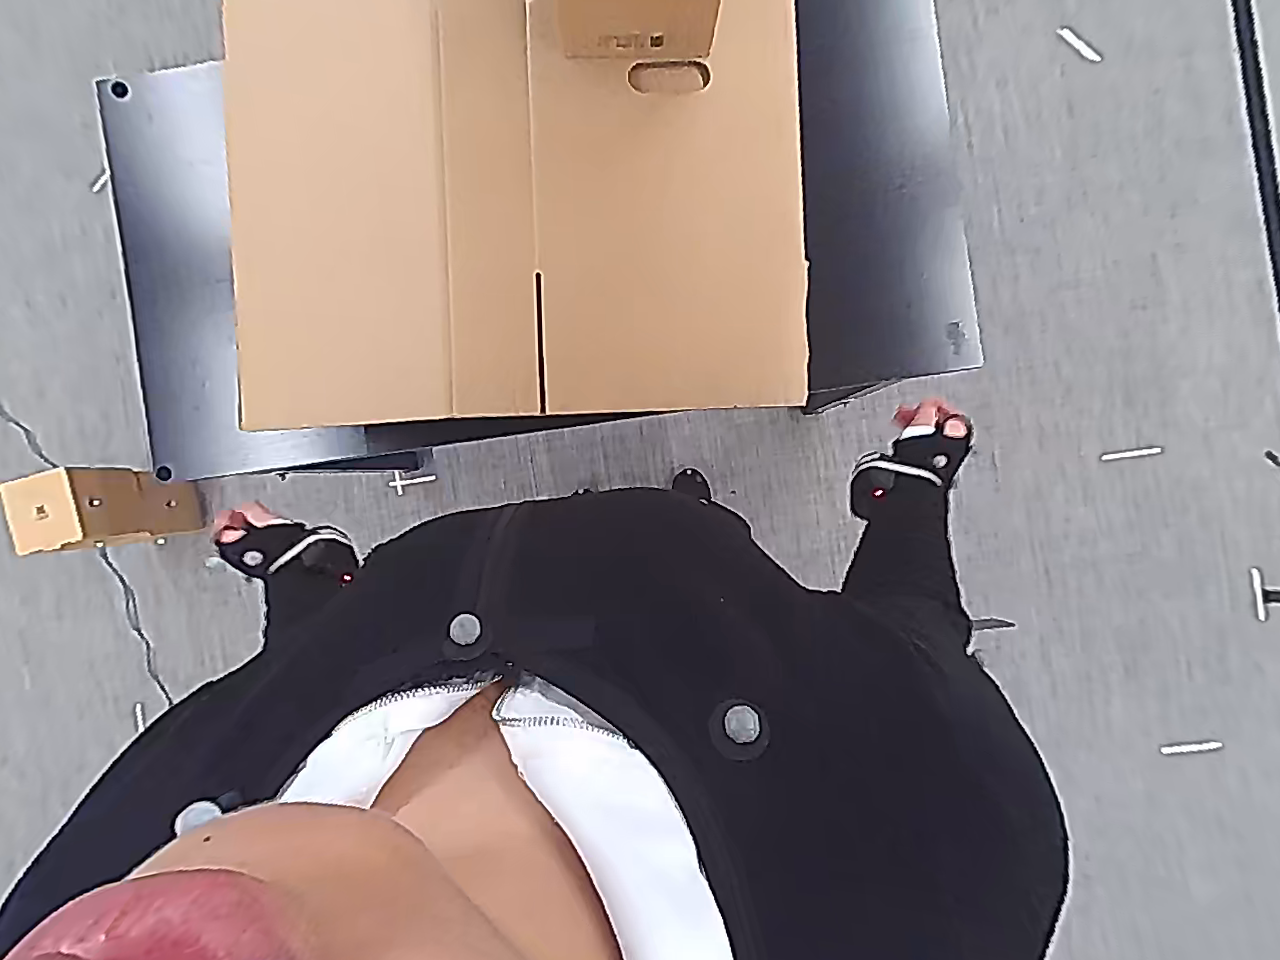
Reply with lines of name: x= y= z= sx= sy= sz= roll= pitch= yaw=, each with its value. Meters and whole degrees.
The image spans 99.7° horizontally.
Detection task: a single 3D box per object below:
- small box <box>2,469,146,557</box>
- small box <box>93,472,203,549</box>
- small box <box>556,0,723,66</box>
small box: x=-1.364 y=0.075 z=1.317 sx=0.168 sy=0.176 sz=0.179 roll=-15 pitch=88 yaw=2
small box: x=-1.354 y=0.081 z=1.480 sx=0.168 sy=0.176 sz=0.179 roll=-12 pitch=90 yaw=3
small box: x=-0.001 y=-0.546 z=0.516 sx=0.168 sy=0.176 sz=0.179 roll=-1 pitch=88 yaw=-1
